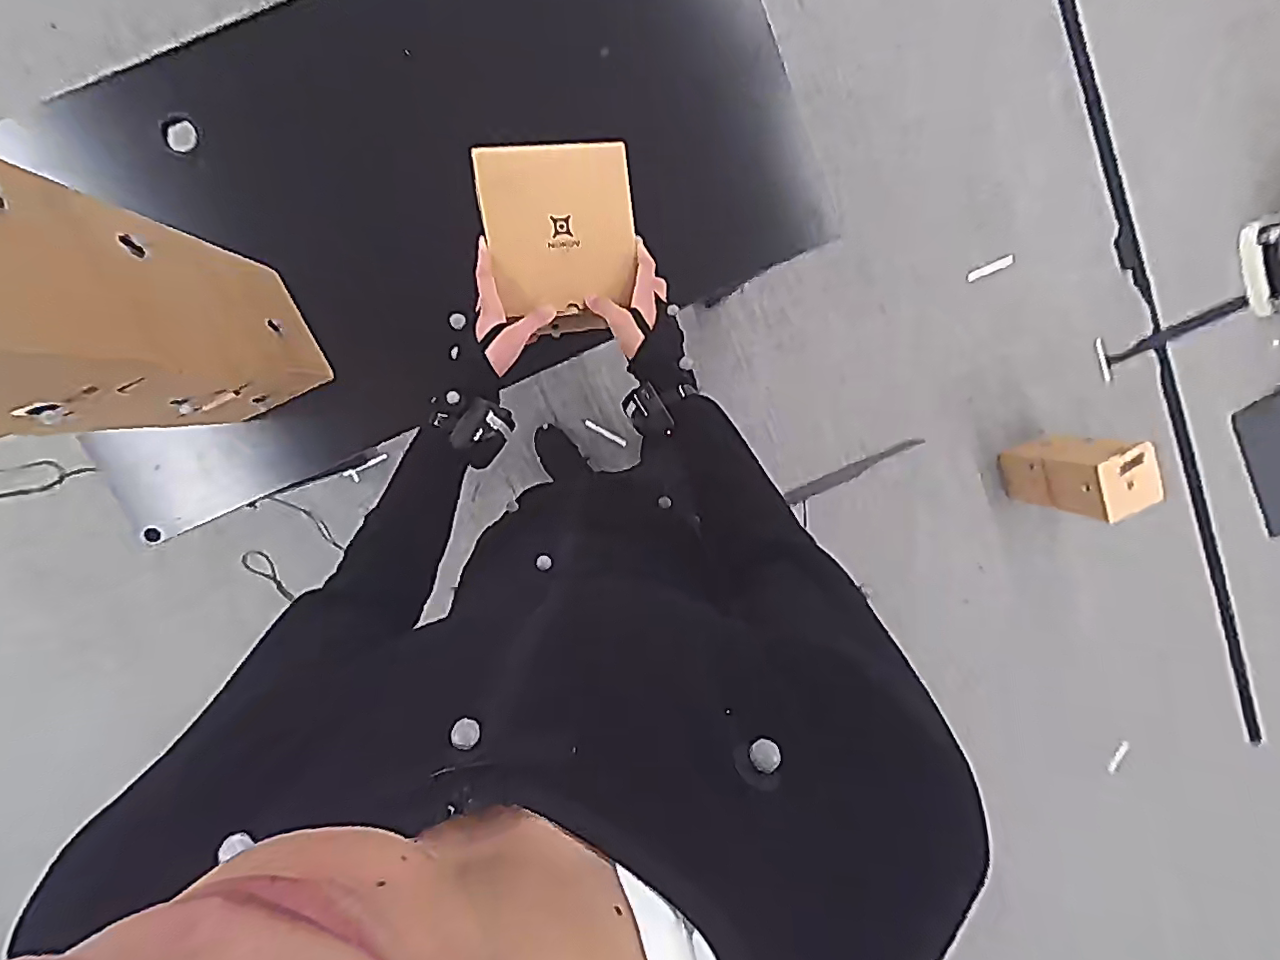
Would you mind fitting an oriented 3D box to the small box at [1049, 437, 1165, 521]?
[{"bbox_3d":[1.284,-0.011,1.499,0.168,0.176,0.179,-24,102,-1],"label":"small box"}]

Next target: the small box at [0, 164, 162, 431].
[{"bbox_3d":[-0.535,-0.138,0.403,0.168,0.176,0.179,-26,101,0],"label":"small box"}]

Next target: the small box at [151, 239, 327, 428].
[{"bbox_3d":[-0.566,-0.187,0.726,0.168,0.176,0.179,-26,101,-1],"label":"small box"}]

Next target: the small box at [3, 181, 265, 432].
[{"bbox_3d":[-0.551,-0.164,0.563,0.168,0.176,0.179,-25,101,0],"label":"small box"}]

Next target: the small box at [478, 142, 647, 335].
[{"bbox_3d":[-0.099,-0.281,0.660,0.168,0.176,0.179,-9,101,-11],"label":"small box"}]
